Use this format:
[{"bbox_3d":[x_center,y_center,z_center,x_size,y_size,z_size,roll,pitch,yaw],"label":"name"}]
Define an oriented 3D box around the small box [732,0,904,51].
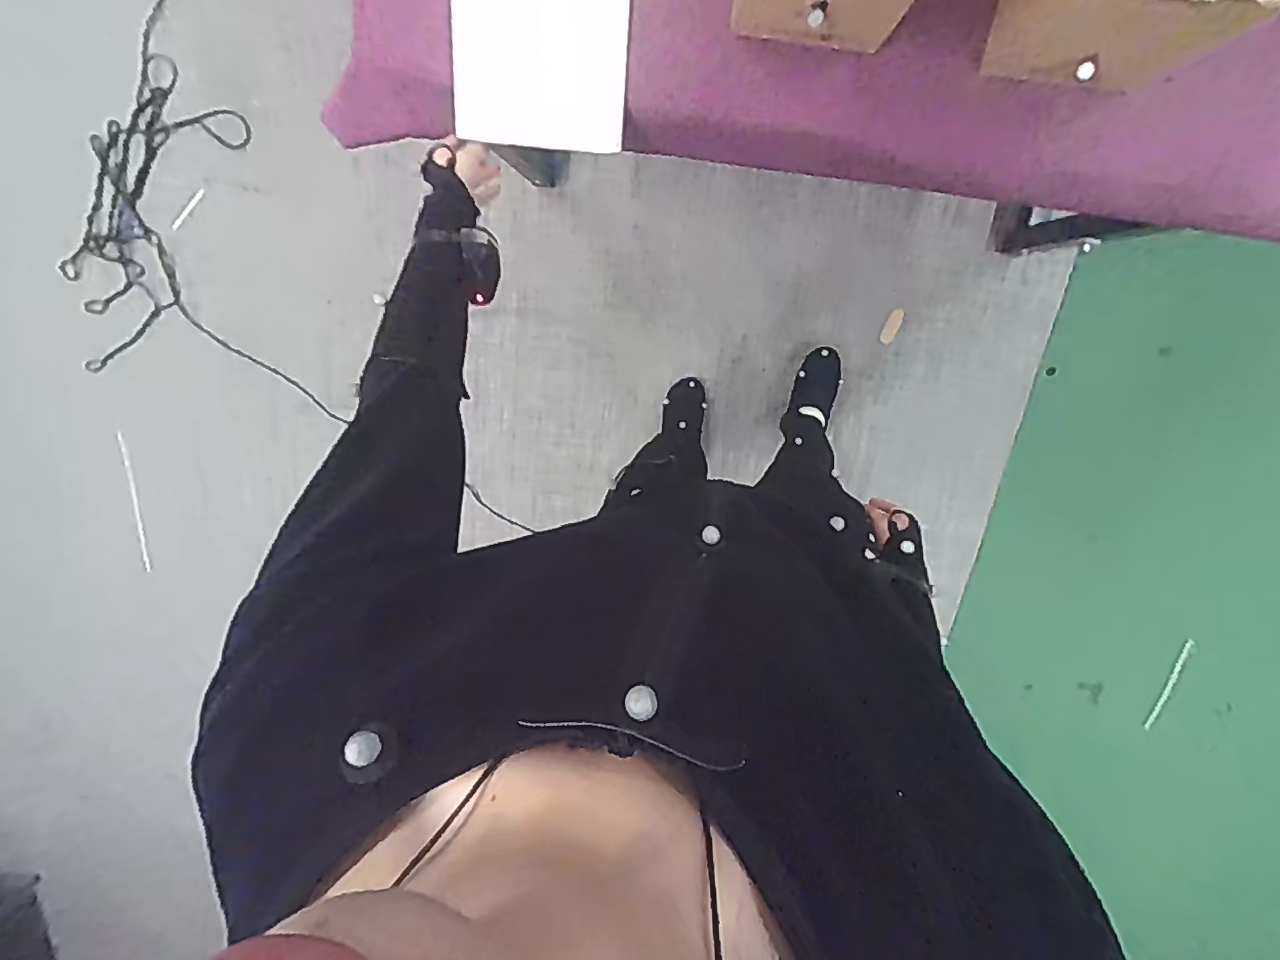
[{"bbox_3d":[0.184,-0.539,0.501,0.168,0.176,0.179,9,108,1],"label":"small box"}]
